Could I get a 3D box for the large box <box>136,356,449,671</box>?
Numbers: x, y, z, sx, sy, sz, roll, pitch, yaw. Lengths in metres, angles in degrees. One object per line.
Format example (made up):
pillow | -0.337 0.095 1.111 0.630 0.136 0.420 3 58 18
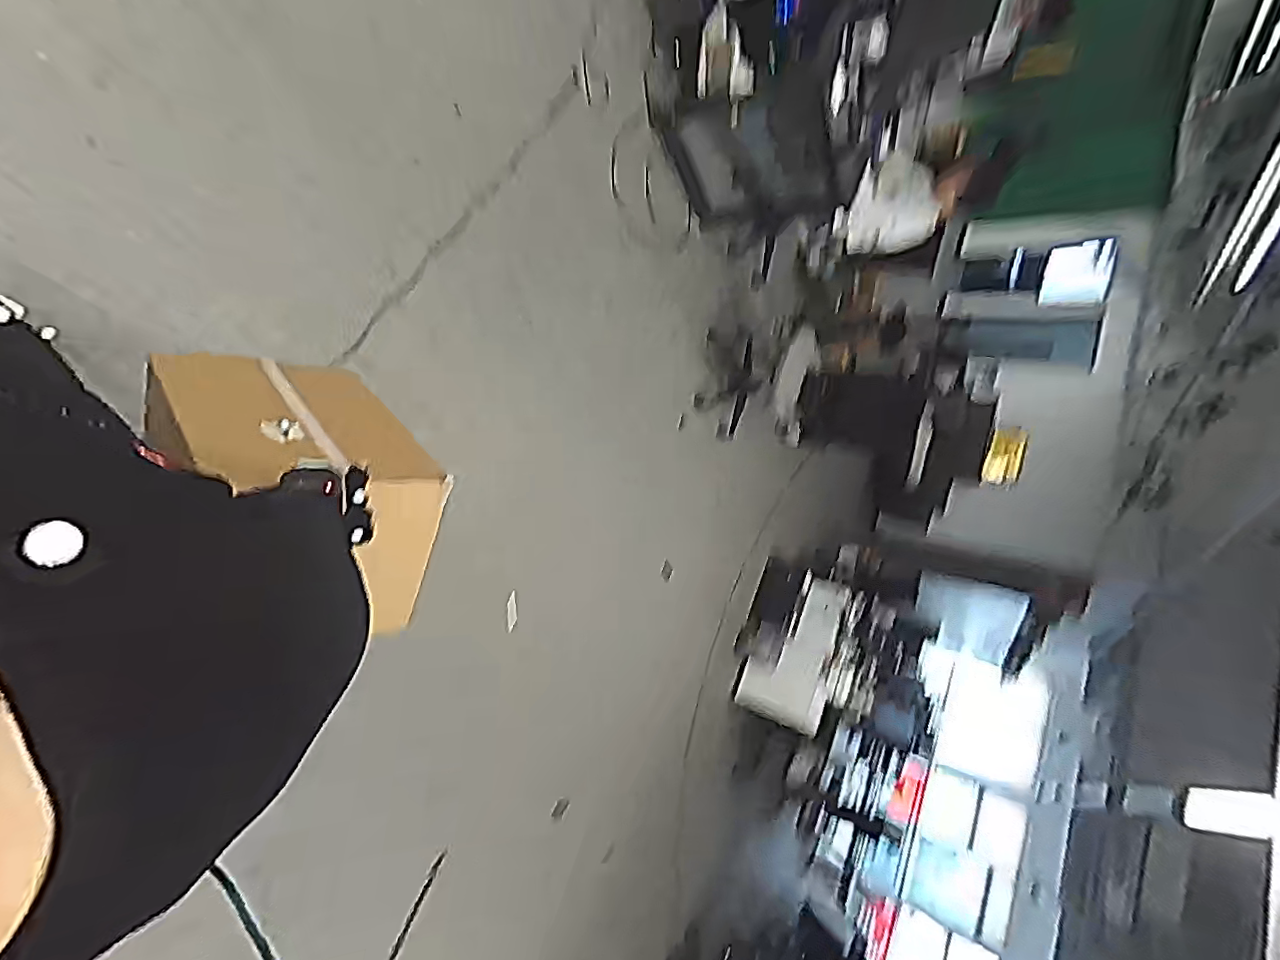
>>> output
large box | -0.597 0.033 0.913 0.320 0.408 0.320 -5 127 -51
